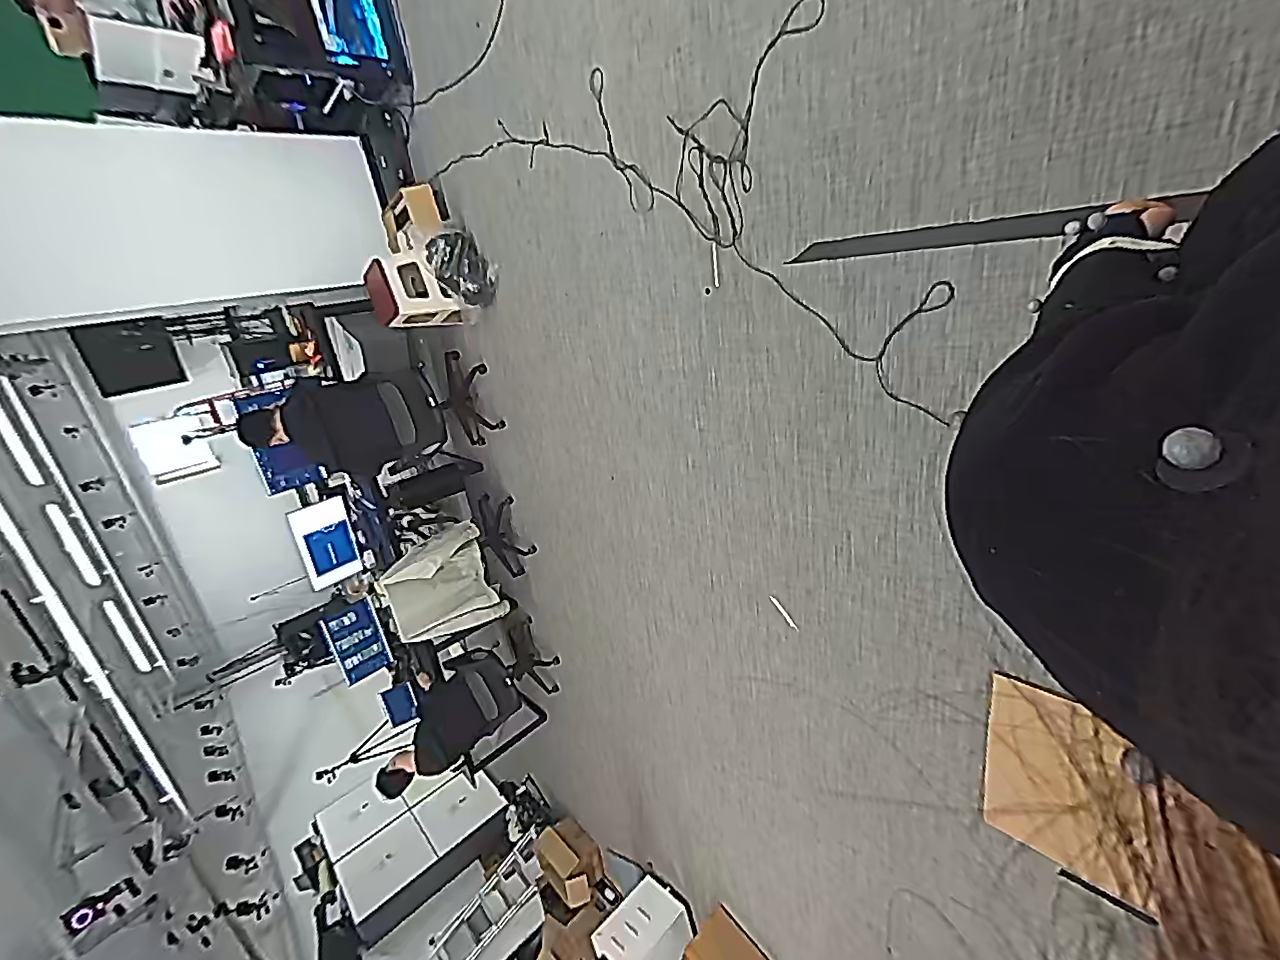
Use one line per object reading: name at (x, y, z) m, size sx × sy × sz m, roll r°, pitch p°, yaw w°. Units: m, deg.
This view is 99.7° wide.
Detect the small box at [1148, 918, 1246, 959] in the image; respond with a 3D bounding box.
small box at (1.113, 1.035, 1.064) m, size 0.168 × 0.176 × 0.179 m, roll 16°, pitch 121°, yaw 46°

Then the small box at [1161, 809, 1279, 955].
small box at (1.354, 0.919, 1.255) m, size 0.168 × 0.176 × 0.179 m, roll 19°, pitch 124°, yaw 46°
